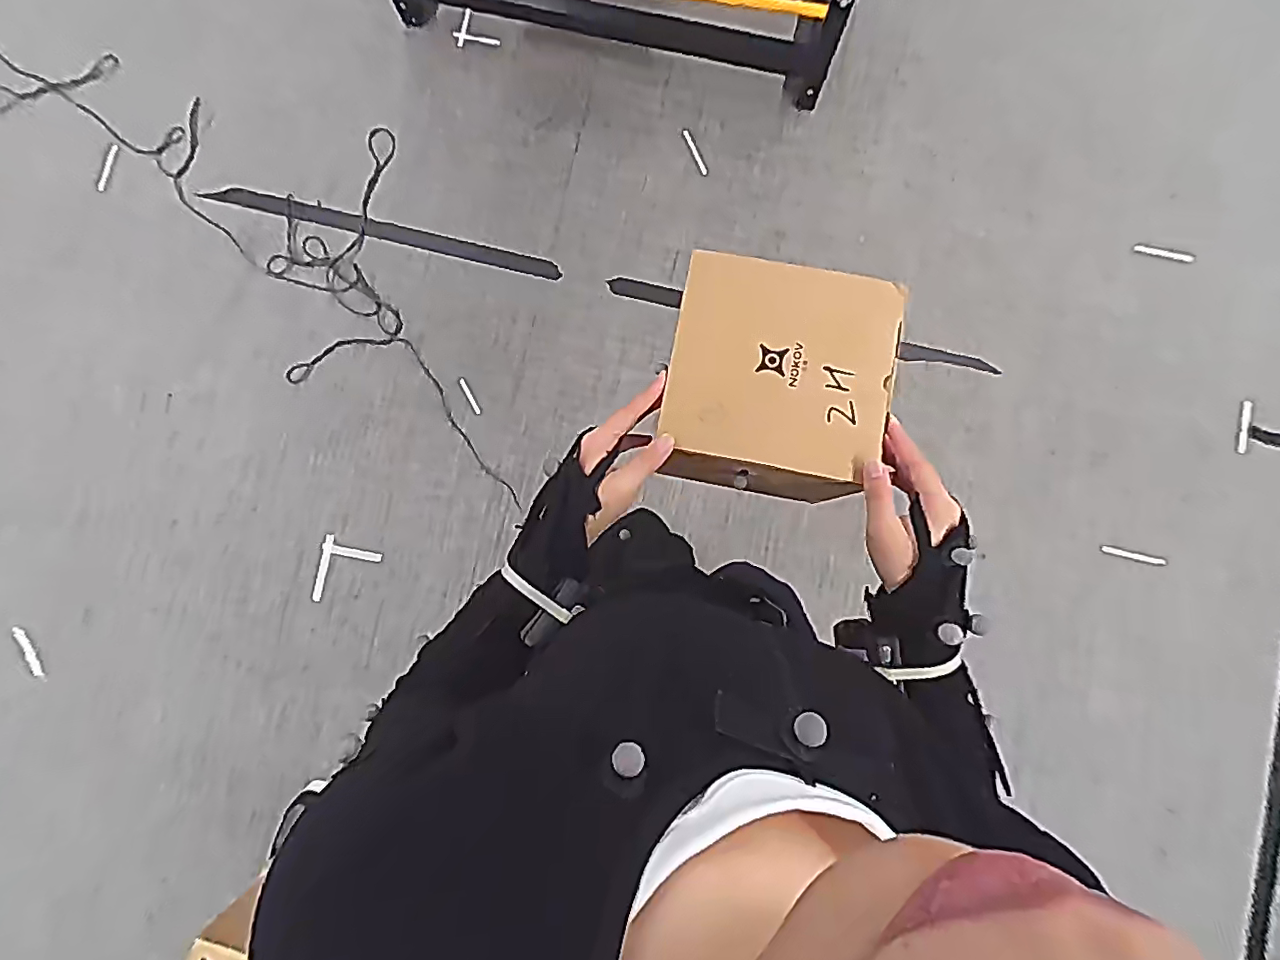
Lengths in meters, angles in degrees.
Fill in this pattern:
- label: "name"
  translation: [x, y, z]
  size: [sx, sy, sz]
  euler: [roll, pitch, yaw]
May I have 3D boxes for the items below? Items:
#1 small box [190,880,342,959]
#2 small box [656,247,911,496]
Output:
- label: "small box"
  translation: [-0.702, 0.892, 1.004]
  size: [0.179, 0.176, 0.168]
  euler: [16, 86, 1]
- label: "small box"
  translation: [0.114, -0.083, 0.498]
  size: [0.179, 0.176, 0.168]
  euler: [11, 85, 2]
